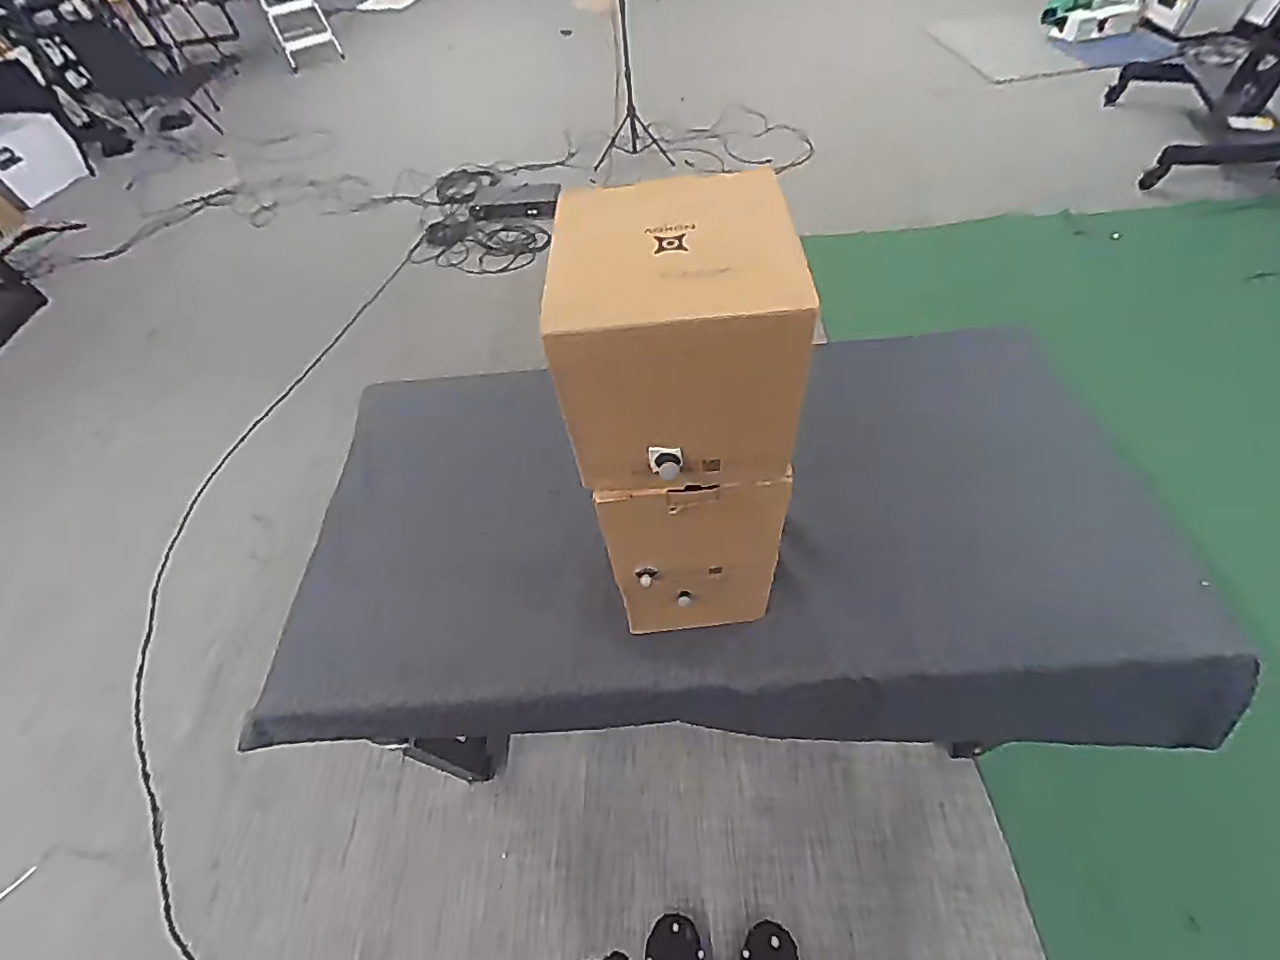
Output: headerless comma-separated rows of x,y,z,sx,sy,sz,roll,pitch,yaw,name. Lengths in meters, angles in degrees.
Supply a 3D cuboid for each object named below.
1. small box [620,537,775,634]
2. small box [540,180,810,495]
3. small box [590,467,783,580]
0.063,0.083,0.701,0.179,0.176,0.168,-9,51,-1,small box
0.026,-0.109,0.436,0.168,0.176,0.179,-5,53,4,small box
0.043,-0.008,0.562,0.168,0.176,0.179,-7,51,2,small box
